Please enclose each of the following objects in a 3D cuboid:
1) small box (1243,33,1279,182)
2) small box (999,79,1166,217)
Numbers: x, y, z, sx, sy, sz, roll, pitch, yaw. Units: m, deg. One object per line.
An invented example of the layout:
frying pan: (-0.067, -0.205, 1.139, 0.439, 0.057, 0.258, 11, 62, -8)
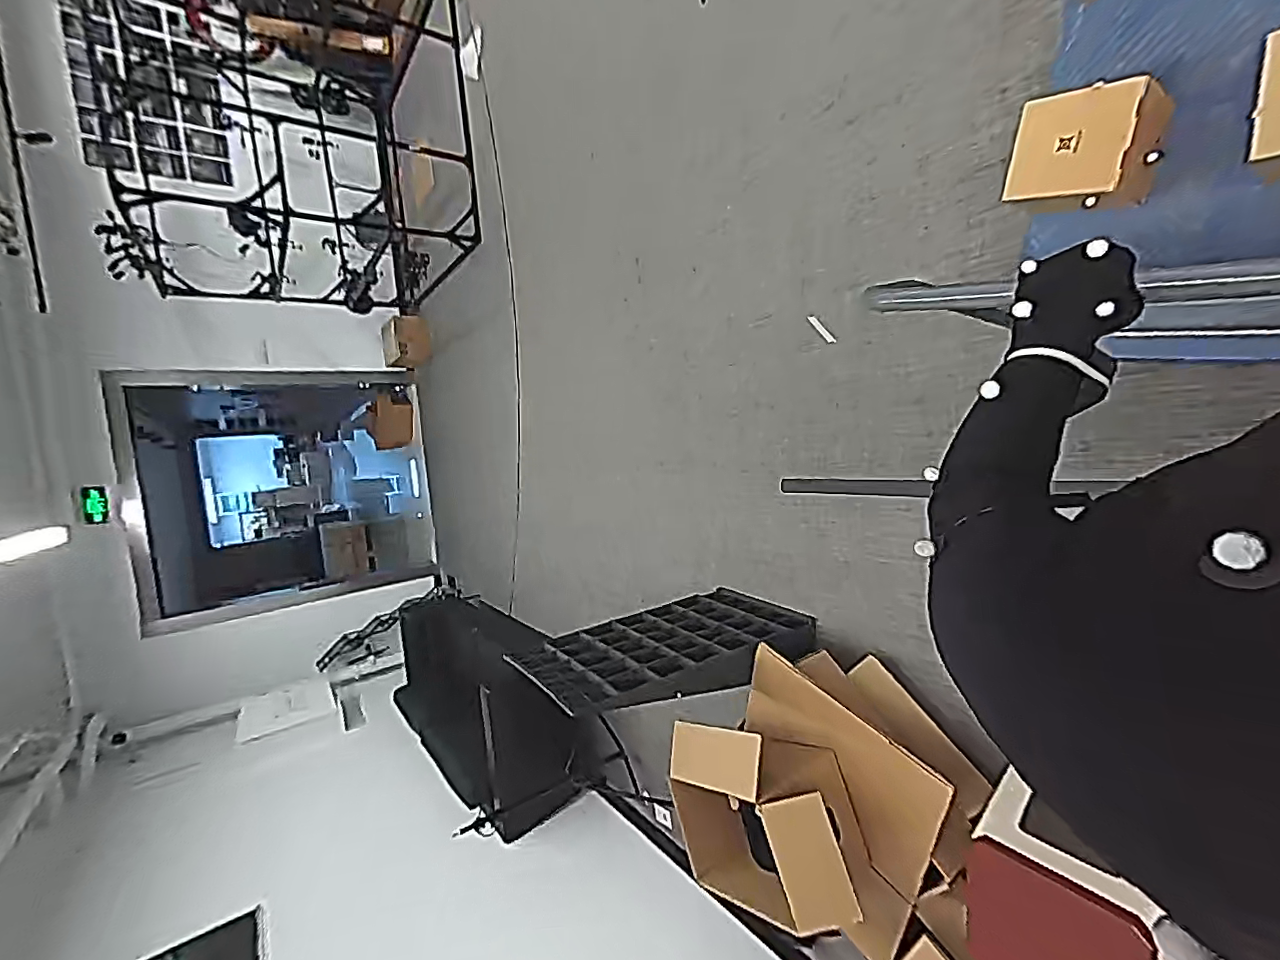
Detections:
small box: (0.983, -0.531, 0.741, 0.179, 0.176, 0.168, 12, 107, 54)
small box: (0.804, -0.588, 0.986, 0.179, 0.176, 0.168, 24, 116, 48)
